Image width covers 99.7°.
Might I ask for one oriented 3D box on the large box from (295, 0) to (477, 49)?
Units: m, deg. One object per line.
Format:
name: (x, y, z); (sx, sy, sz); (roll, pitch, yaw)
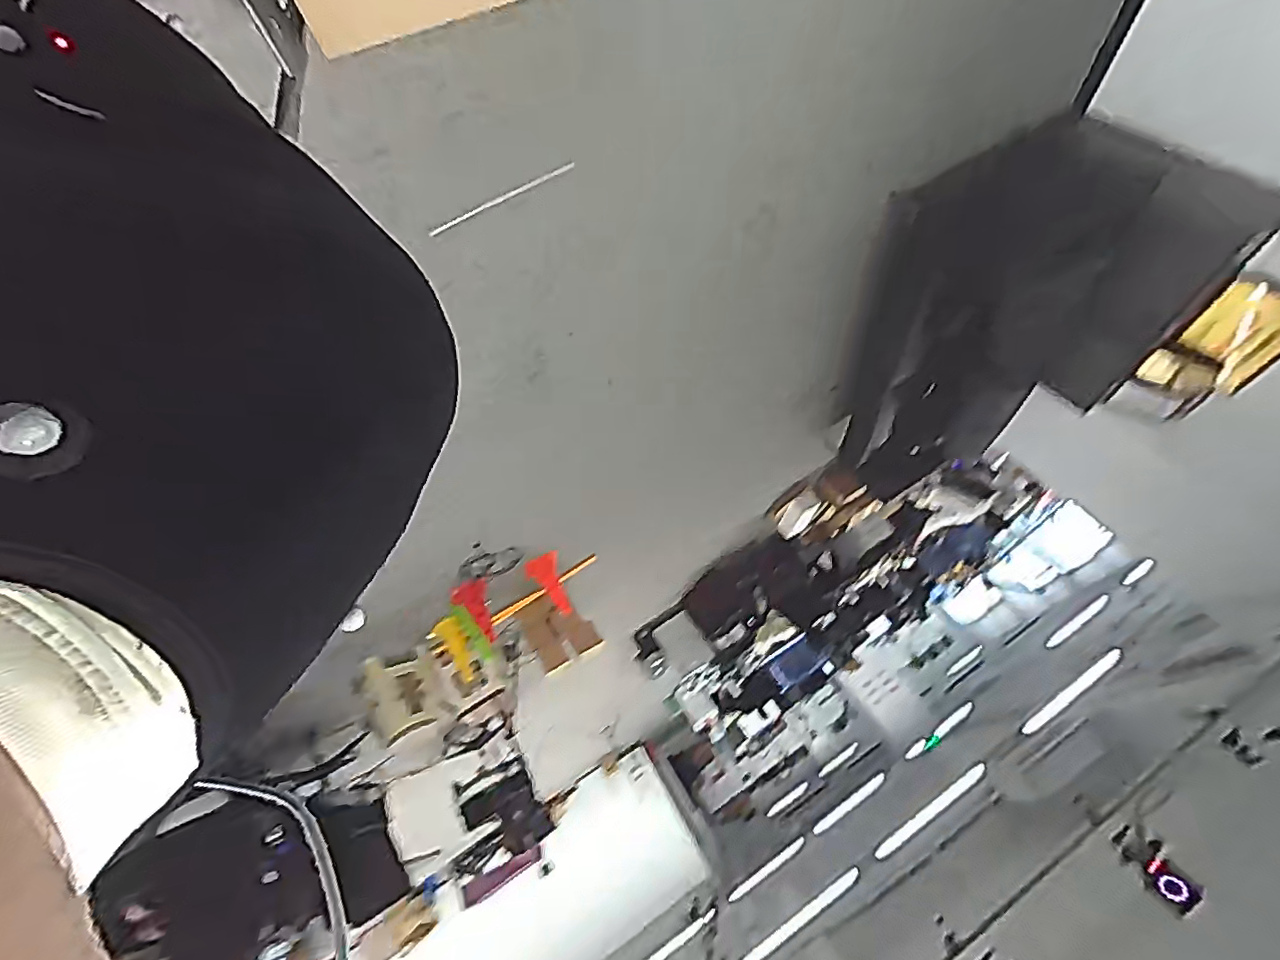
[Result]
large box: (-0.367, -0.908, 0.769); (0.408, 0.320, 0.320); (-21, 150, -4)
